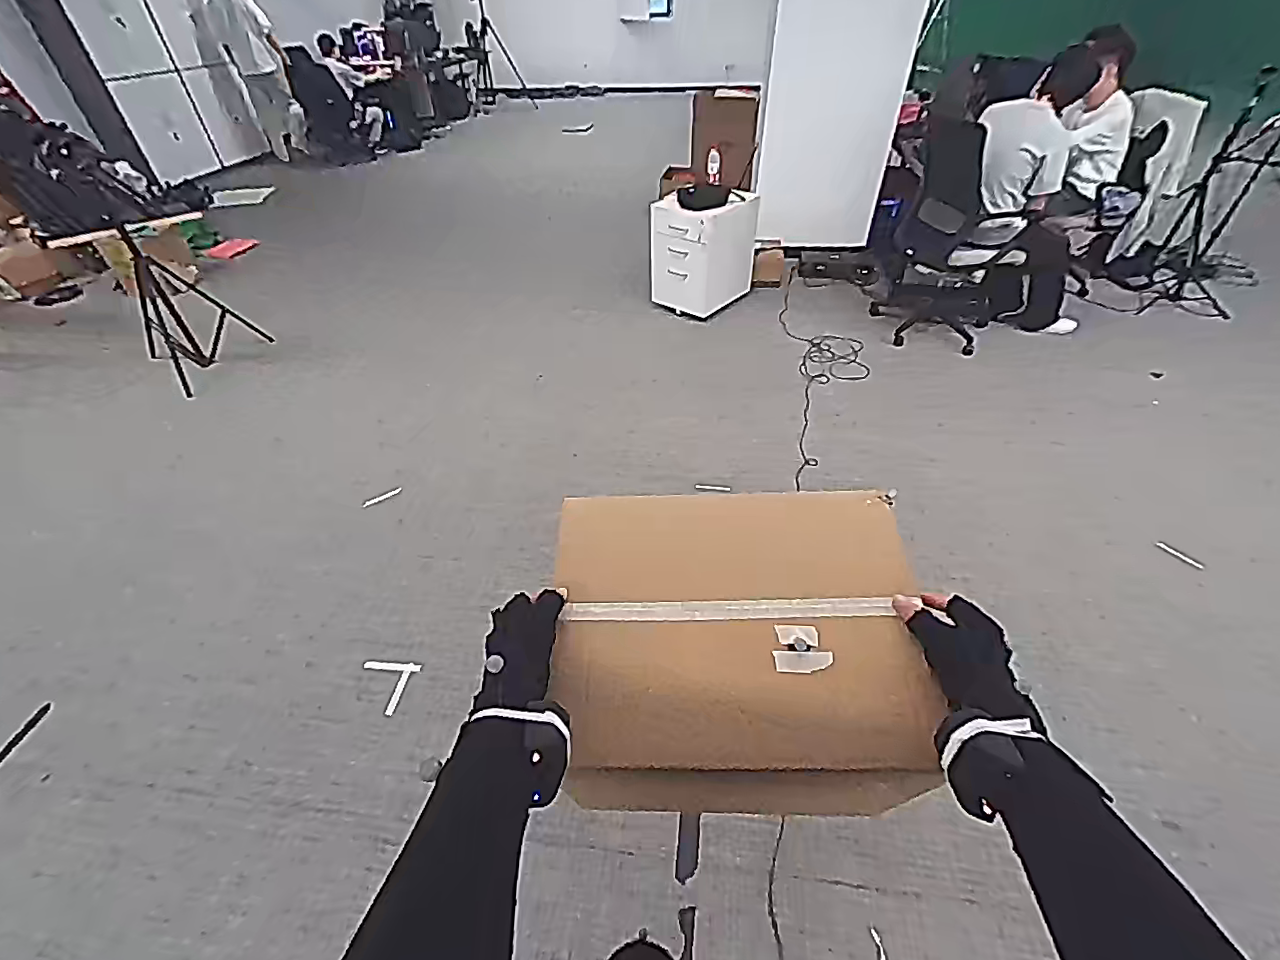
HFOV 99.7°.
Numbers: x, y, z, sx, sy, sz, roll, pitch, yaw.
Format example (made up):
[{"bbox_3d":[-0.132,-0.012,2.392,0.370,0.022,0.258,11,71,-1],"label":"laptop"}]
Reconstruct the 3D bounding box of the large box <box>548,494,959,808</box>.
[{"bbox_3d":[0.114,0.238,0.725,0.408,0.320,0.320,-2,53,4],"label":"large box"}]
